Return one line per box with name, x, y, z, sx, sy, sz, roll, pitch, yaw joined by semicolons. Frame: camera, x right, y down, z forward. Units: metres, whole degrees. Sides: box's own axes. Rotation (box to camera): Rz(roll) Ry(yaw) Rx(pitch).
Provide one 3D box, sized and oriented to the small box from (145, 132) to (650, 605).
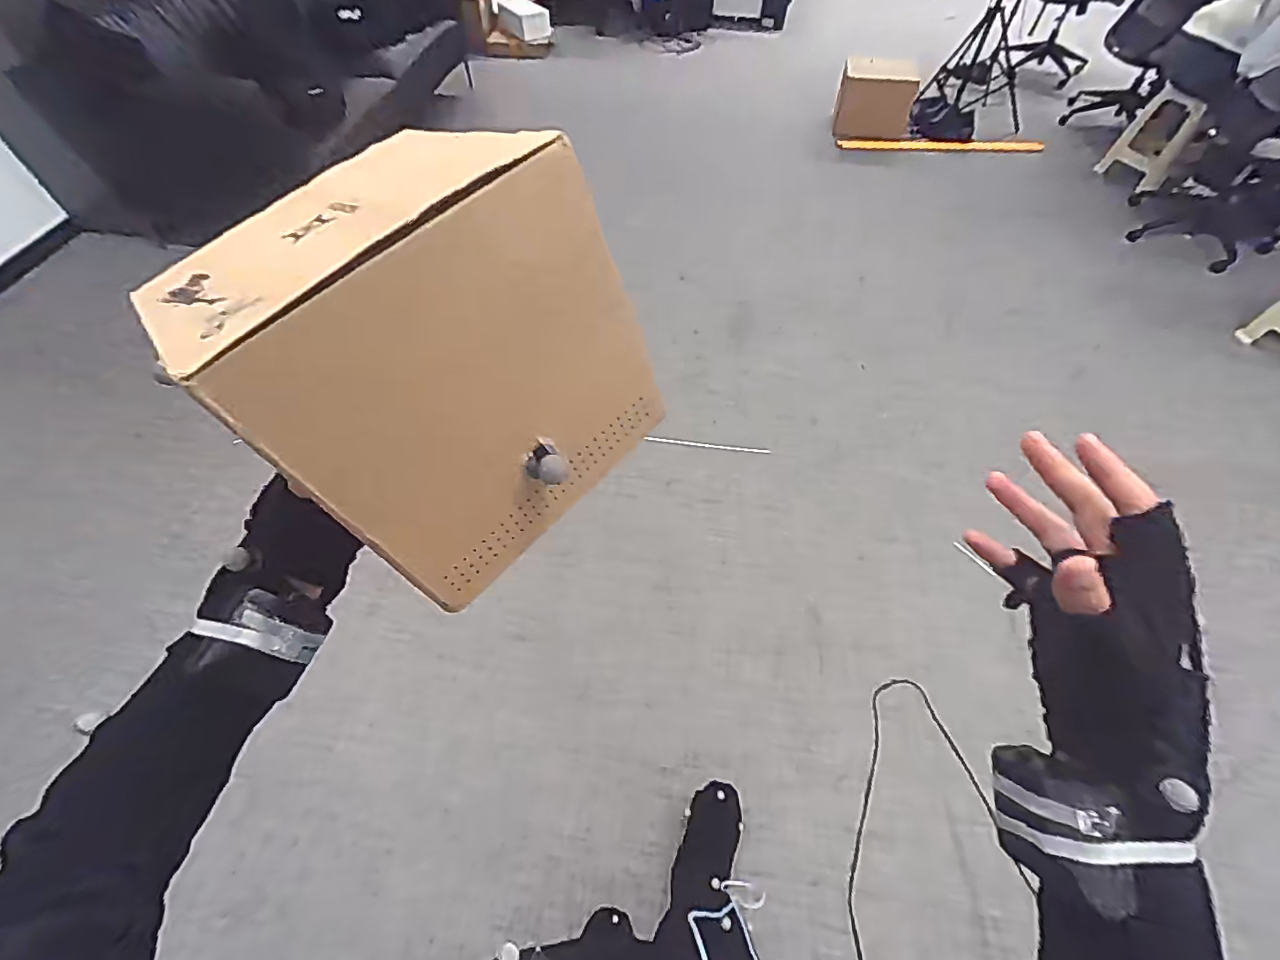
small box;-0.112;-0.067;0.305;0.179;0.176;0.168;-43;48;-19
